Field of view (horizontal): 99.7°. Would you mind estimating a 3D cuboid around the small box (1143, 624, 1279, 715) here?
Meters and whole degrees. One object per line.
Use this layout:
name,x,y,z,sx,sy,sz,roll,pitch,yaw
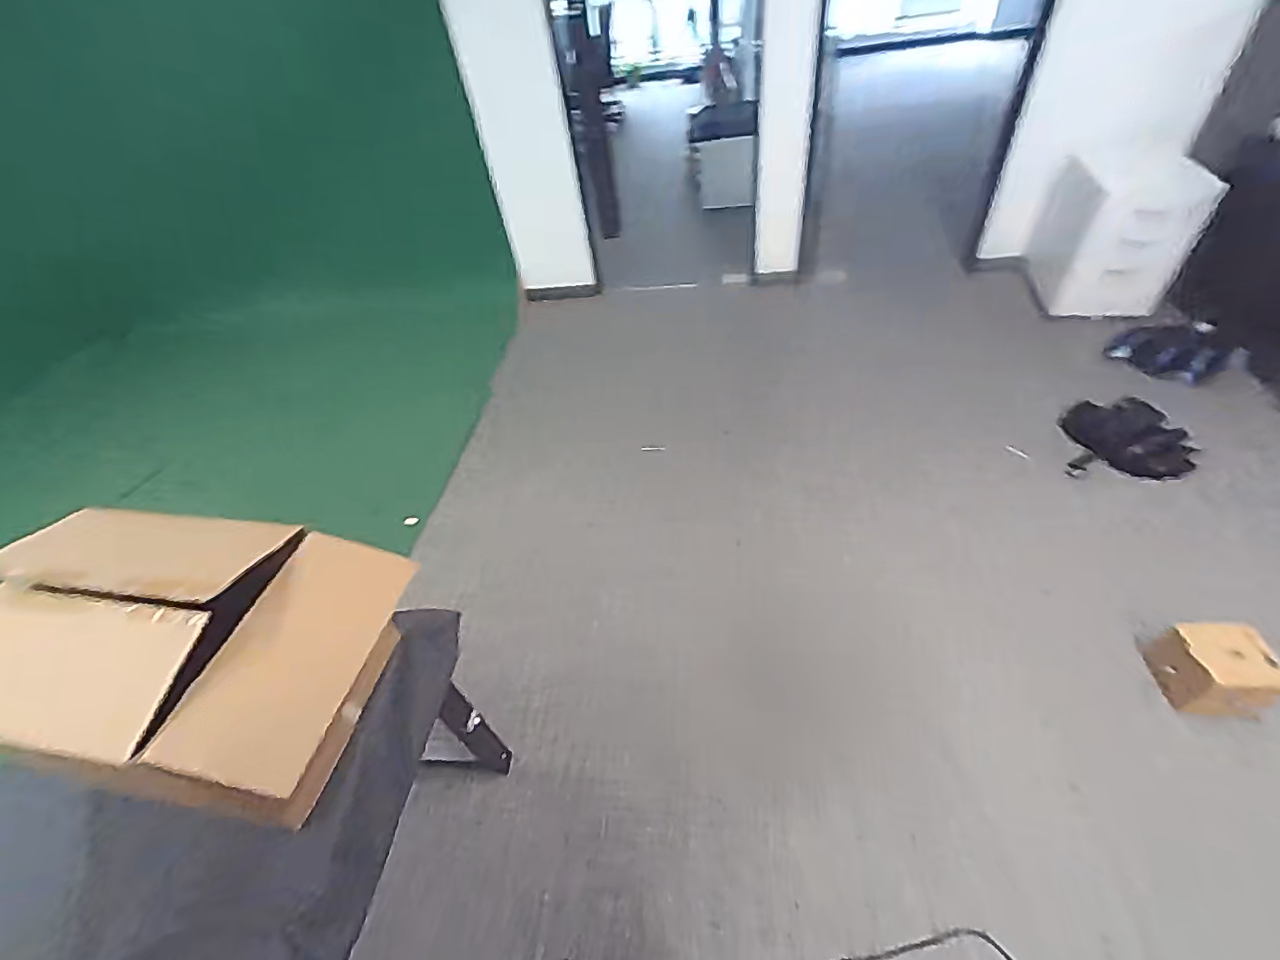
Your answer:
small box,1.438,0.481,1.370,0.179,0.176,0.168,-3,46,8
